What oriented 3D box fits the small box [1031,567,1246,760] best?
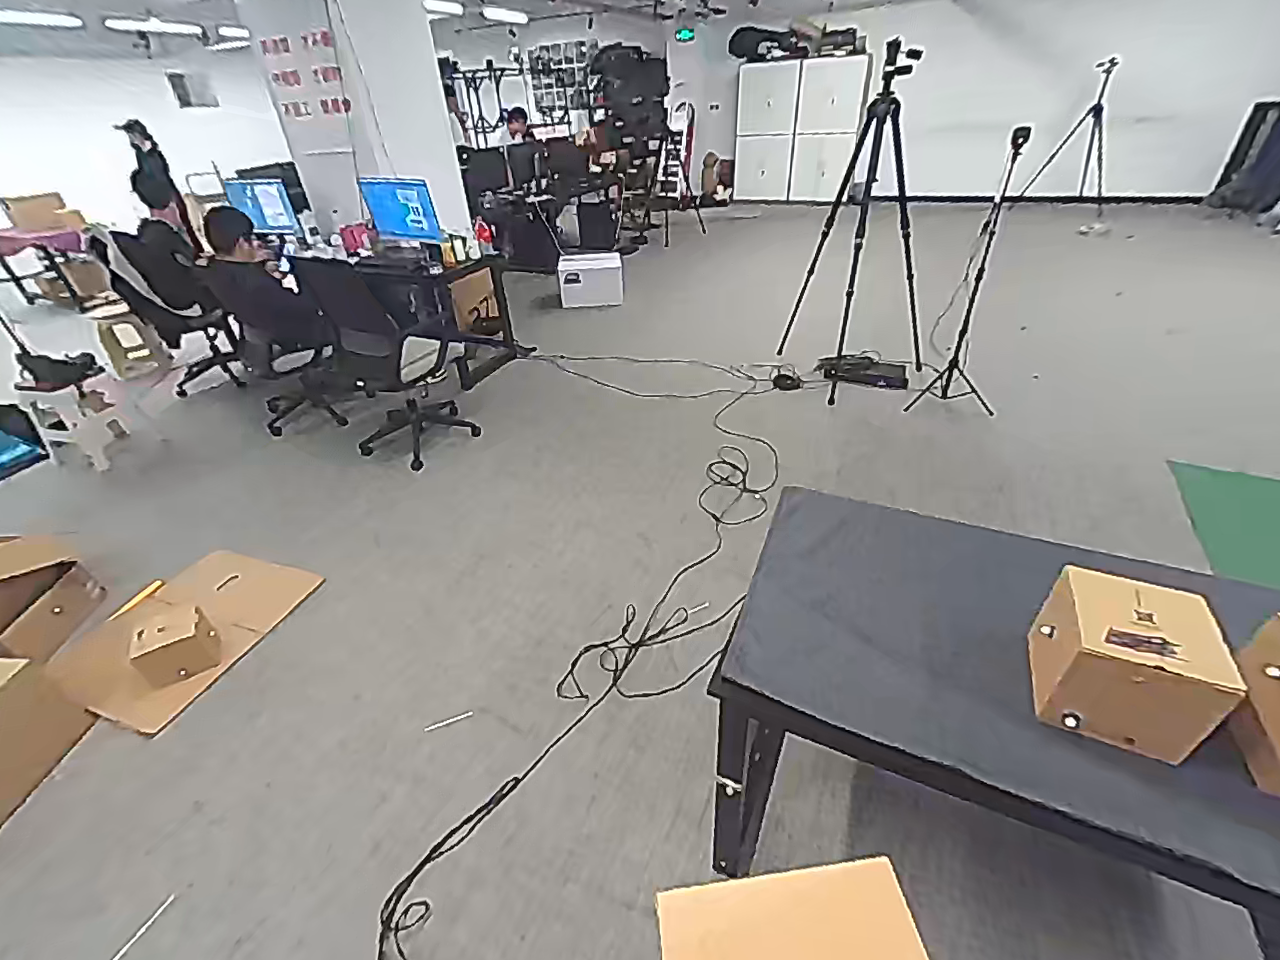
[{"bbox_3d":[0.693,0.262,0.781,0.168,0.176,0.179,14,37,23],"label":"small box"}]

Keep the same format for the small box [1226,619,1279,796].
[{"bbox_3d":[0.912,0.310,0.689,0.168,0.176,0.179,12,37,22],"label":"small box"}]

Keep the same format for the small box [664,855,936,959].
[{"bbox_3d":[0.107,0.384,0.352,0.168,0.176,0.179,-7,38,-3],"label":"small box"}]
